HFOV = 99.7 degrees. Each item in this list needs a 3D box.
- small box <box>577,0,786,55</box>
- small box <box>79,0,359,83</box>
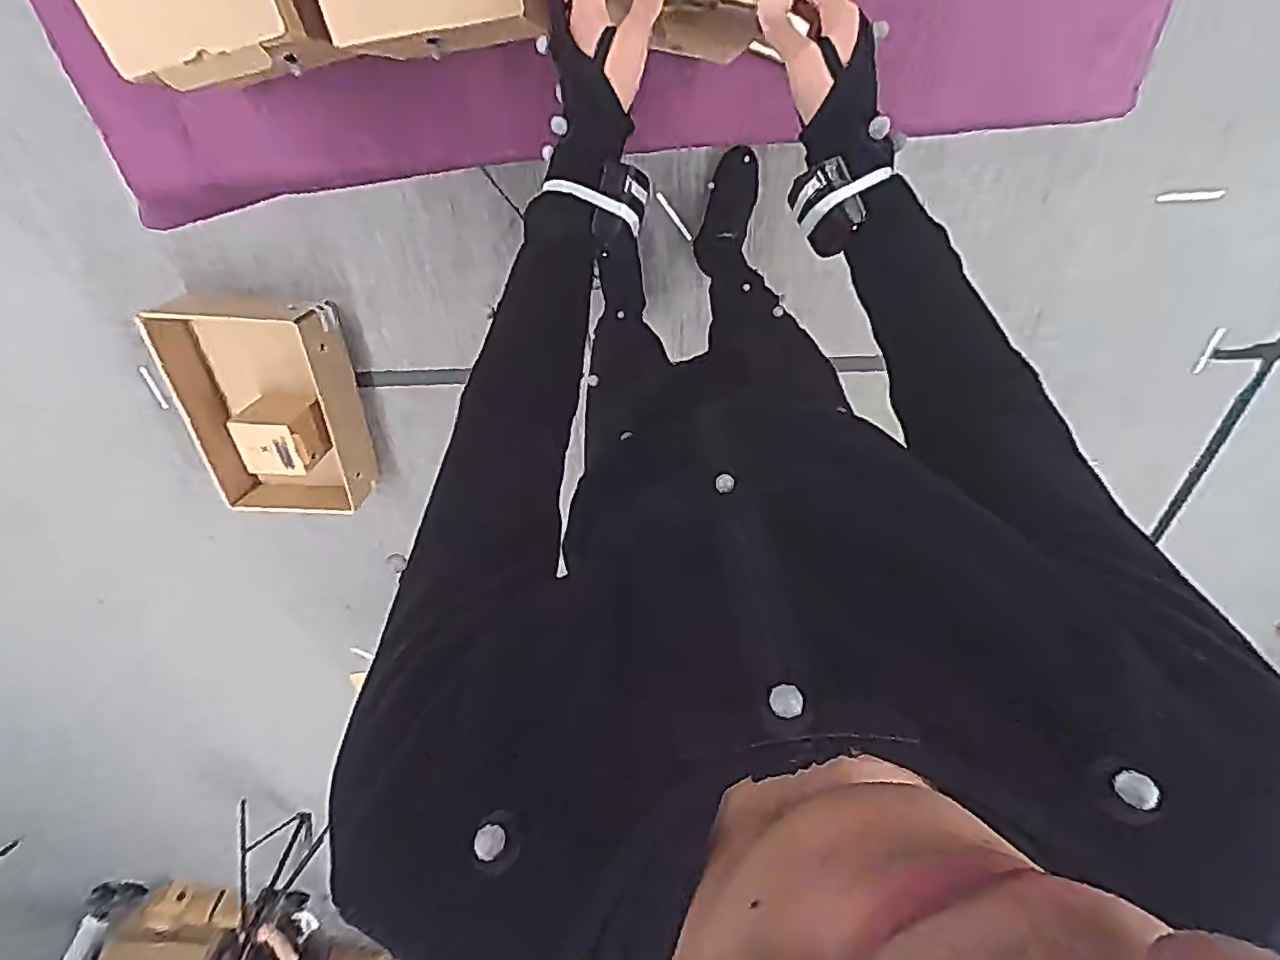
[{"bbox_3d":[0.036,-0.492,0.453,0.168,0.176,0.179,3,115,-12],"label":"small box"},{"bbox_3d":[-0.398,-0.487,0.496,0.168,0.176,0.179,-9,124,6],"label":"small box"}]
